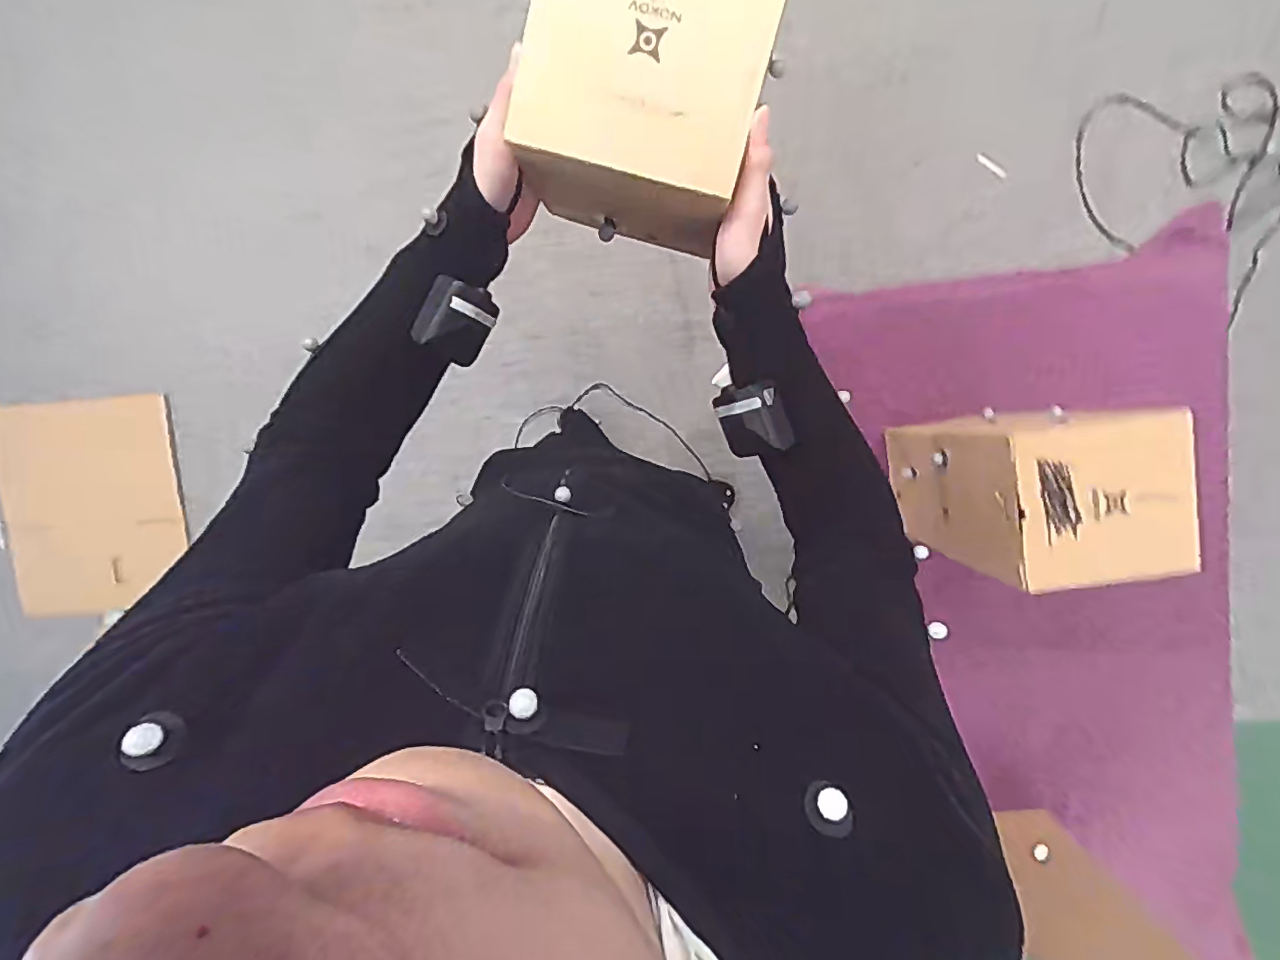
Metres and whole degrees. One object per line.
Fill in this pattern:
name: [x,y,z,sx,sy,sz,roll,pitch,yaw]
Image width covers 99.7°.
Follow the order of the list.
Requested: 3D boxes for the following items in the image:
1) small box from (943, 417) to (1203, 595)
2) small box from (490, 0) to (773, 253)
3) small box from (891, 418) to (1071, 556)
small box: [0.472,0.022,0.619,0.179,0.176,0.168,-7,95,3]
small box: [0.000,-0.308,0.433,0.168,0.176,0.179,15,100,1]
small box: [0.482,0.005,0.783,0.179,0.176,0.168,-8,95,4]
